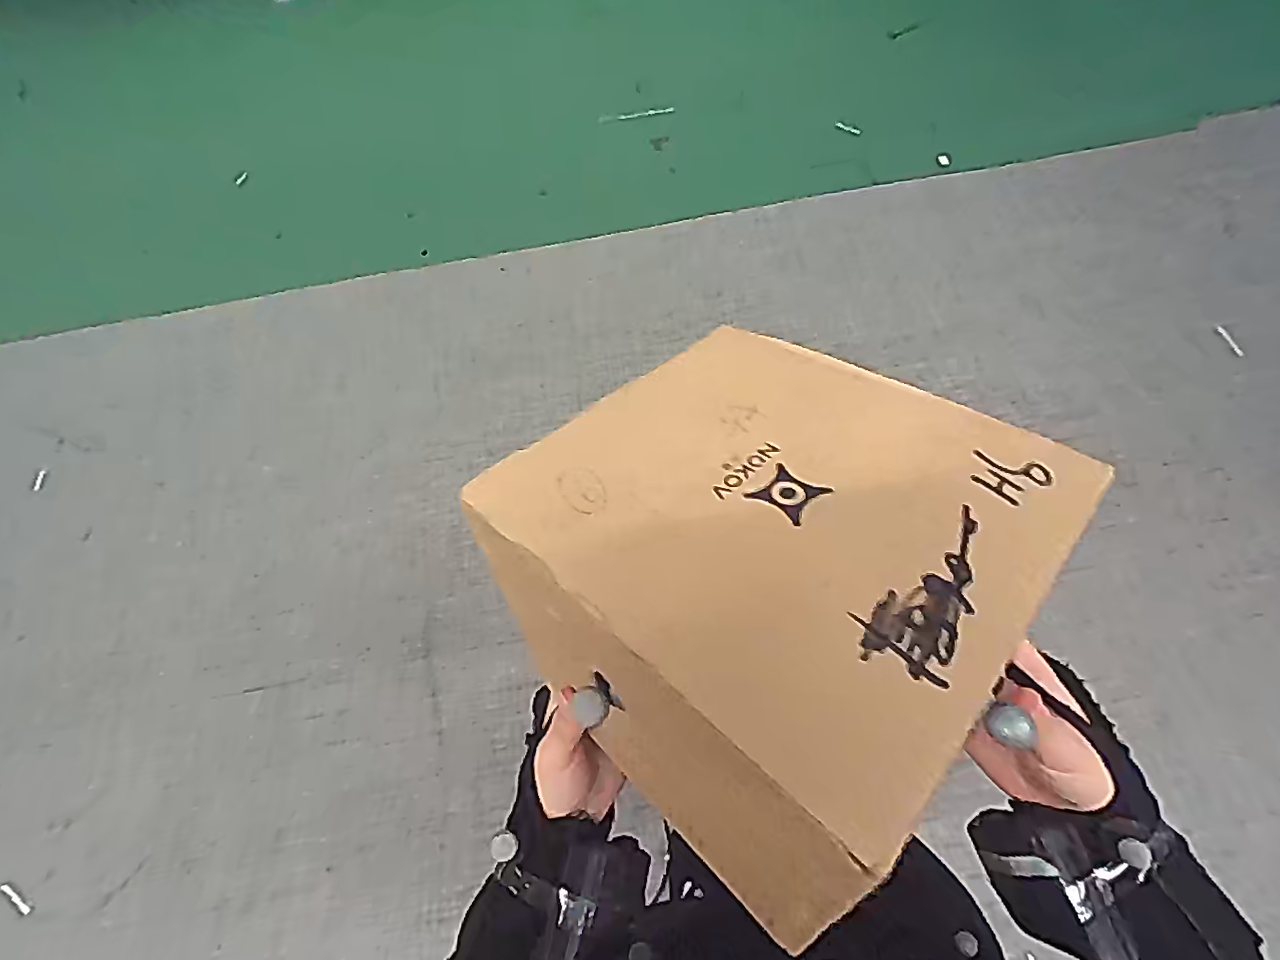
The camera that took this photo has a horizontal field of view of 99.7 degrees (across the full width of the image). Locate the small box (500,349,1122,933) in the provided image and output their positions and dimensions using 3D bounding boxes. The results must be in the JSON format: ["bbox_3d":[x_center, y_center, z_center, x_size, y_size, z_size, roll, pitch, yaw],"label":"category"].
[{"bbox_3d":[0.065,0.067,0.261,0.168,0.176,0.179,-37,51,-27],"label":"small box"}]
